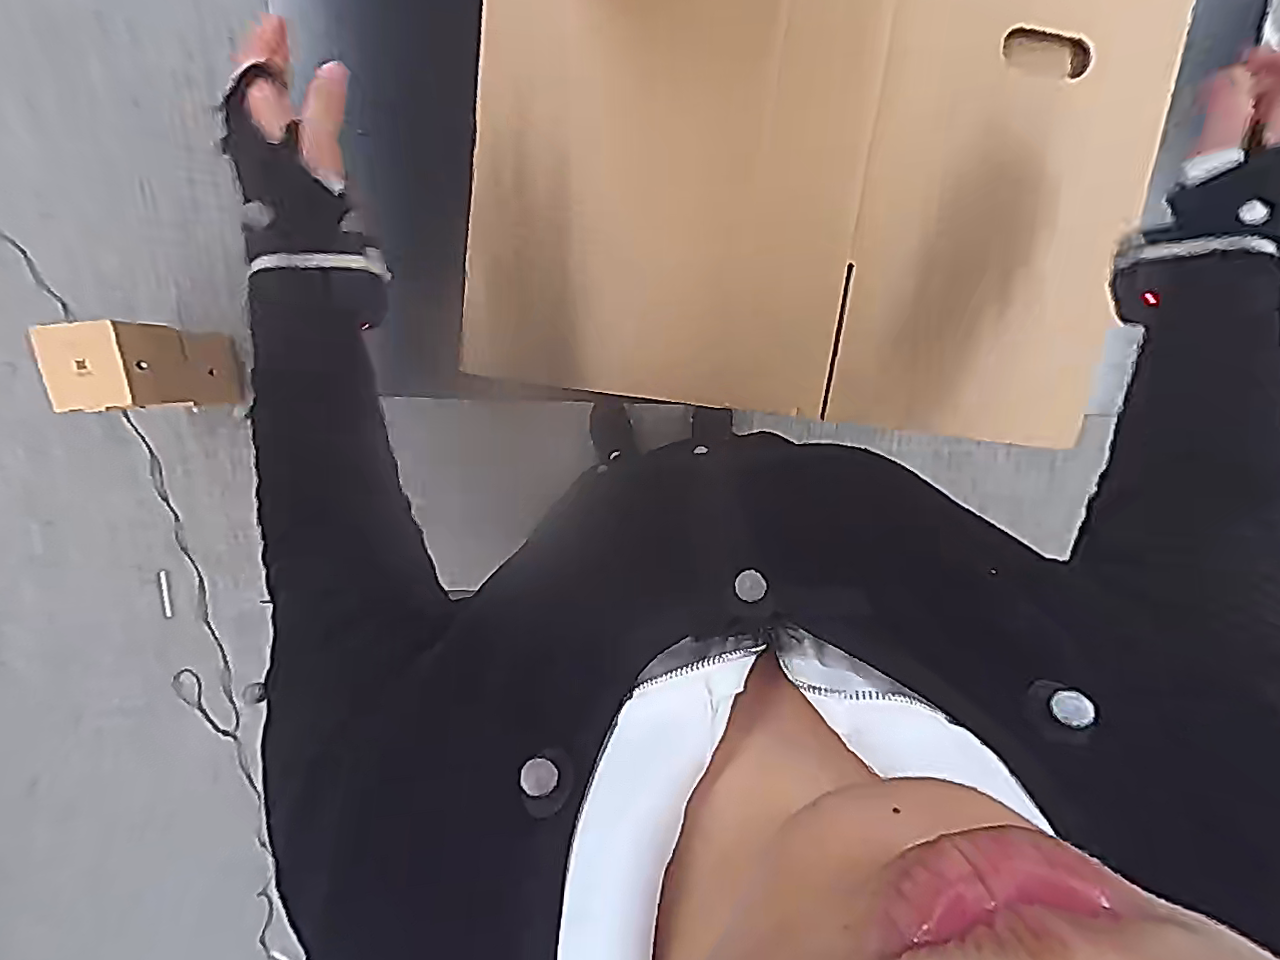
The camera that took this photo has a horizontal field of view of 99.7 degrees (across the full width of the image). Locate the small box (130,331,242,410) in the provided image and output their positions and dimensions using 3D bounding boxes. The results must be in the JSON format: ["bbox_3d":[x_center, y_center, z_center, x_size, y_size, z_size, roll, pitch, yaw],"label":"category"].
[{"bbox_3d":[-1.133,-0.268,1.335,0.168,0.176,0.179,-3,102,-1],"label":"small box"}]

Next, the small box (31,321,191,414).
[{"bbox_3d":[-1.130,-0.243,1.175,0.168,0.176,0.179,-6,100,-1],"label":"small box"}]
